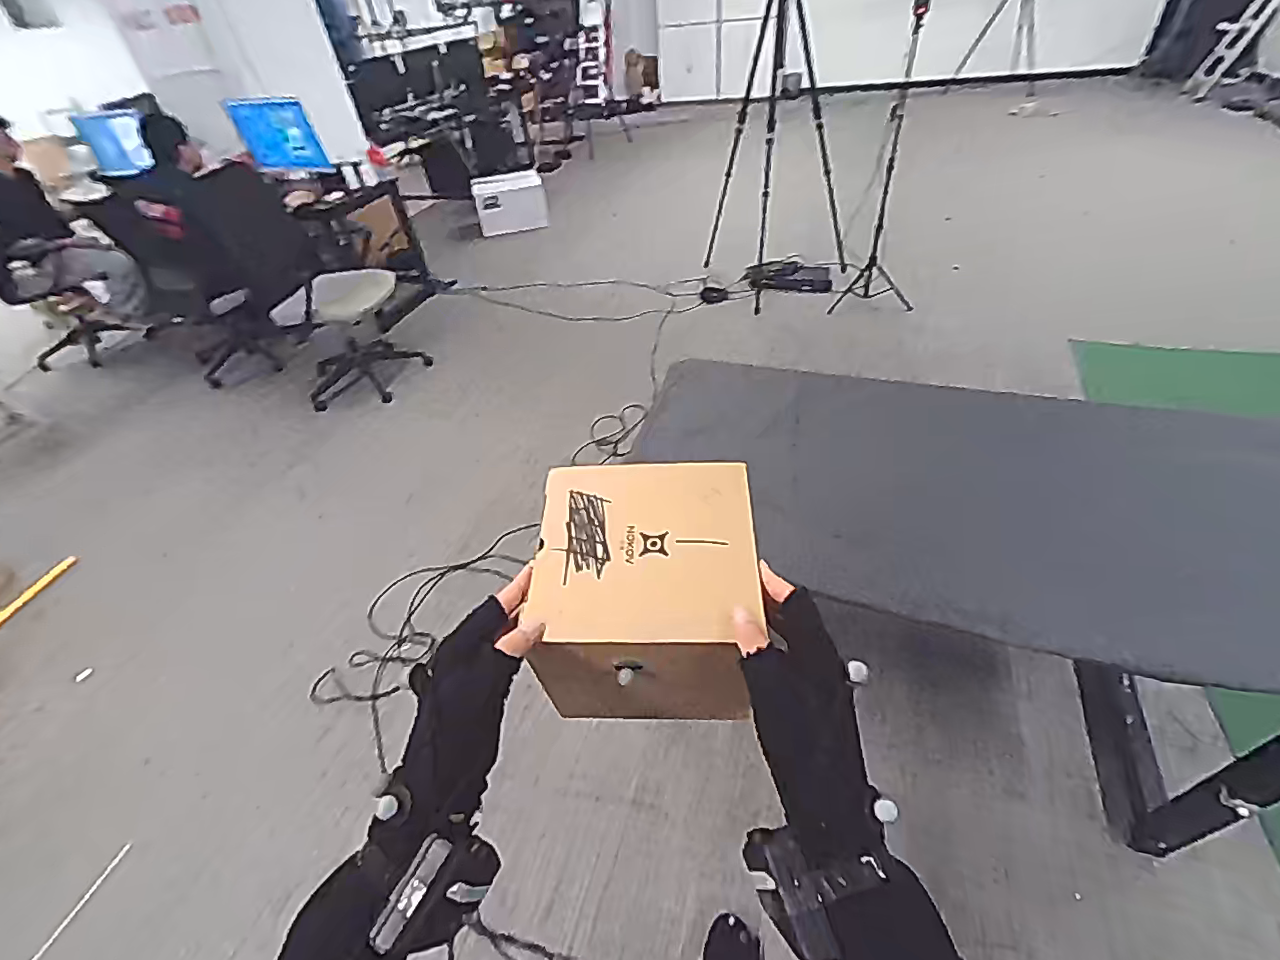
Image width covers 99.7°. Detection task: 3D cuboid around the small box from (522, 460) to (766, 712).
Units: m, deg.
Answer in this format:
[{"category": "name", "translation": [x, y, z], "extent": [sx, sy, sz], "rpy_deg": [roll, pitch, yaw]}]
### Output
[{"category": "small box", "translation": [0.013, 0.099, 0.488], "extent": [0.179, 0.176, 0.168], "rpy_deg": [-1, 49, 5]}]
